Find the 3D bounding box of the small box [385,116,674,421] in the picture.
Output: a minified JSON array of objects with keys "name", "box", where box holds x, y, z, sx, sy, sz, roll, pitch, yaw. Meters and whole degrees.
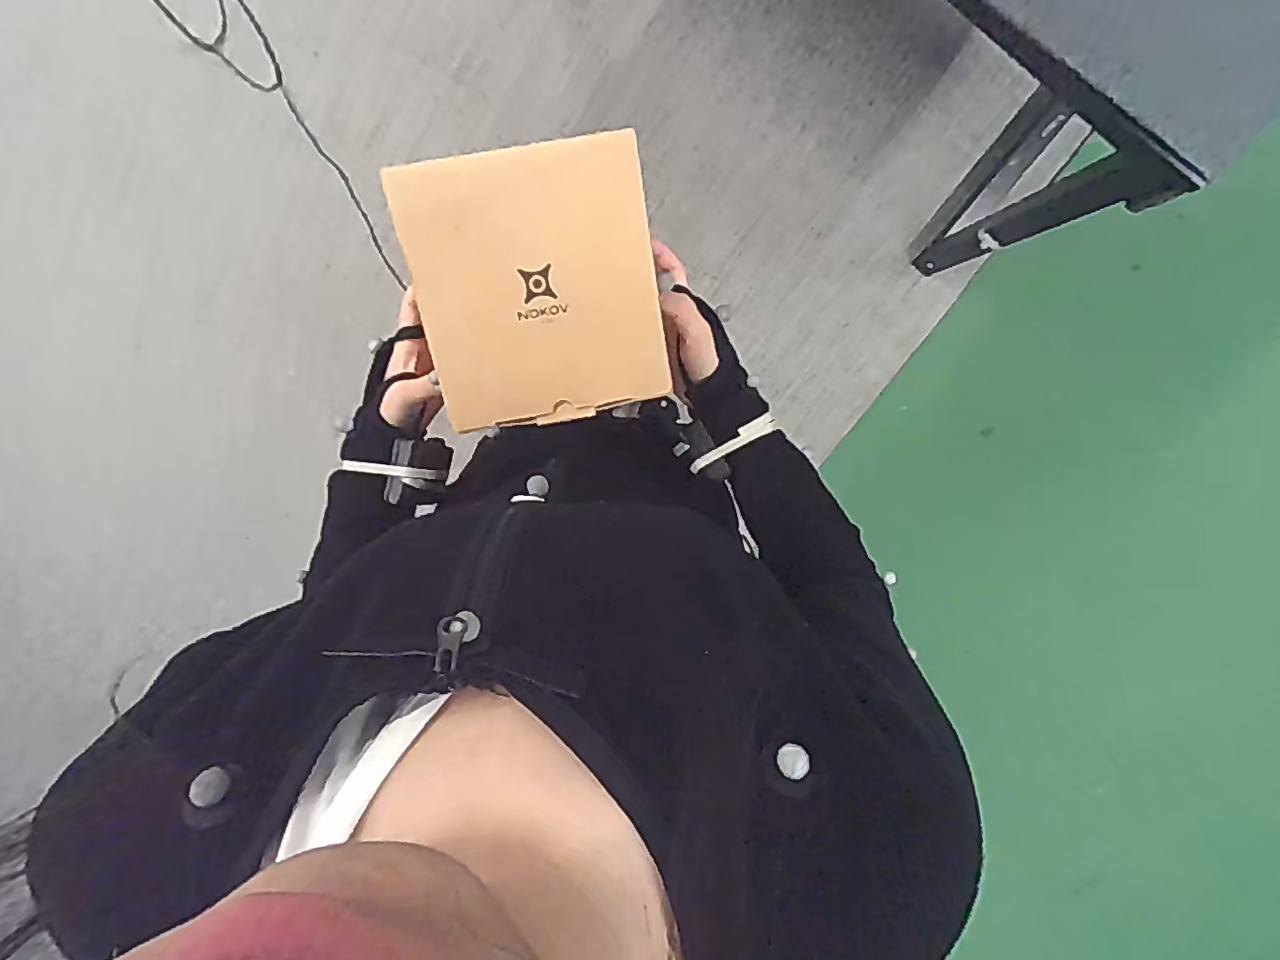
[{"name":"small box","box":[-0.077,-0.162,0.440,0.168,0.176,0.179,-11,111,-3]}]
